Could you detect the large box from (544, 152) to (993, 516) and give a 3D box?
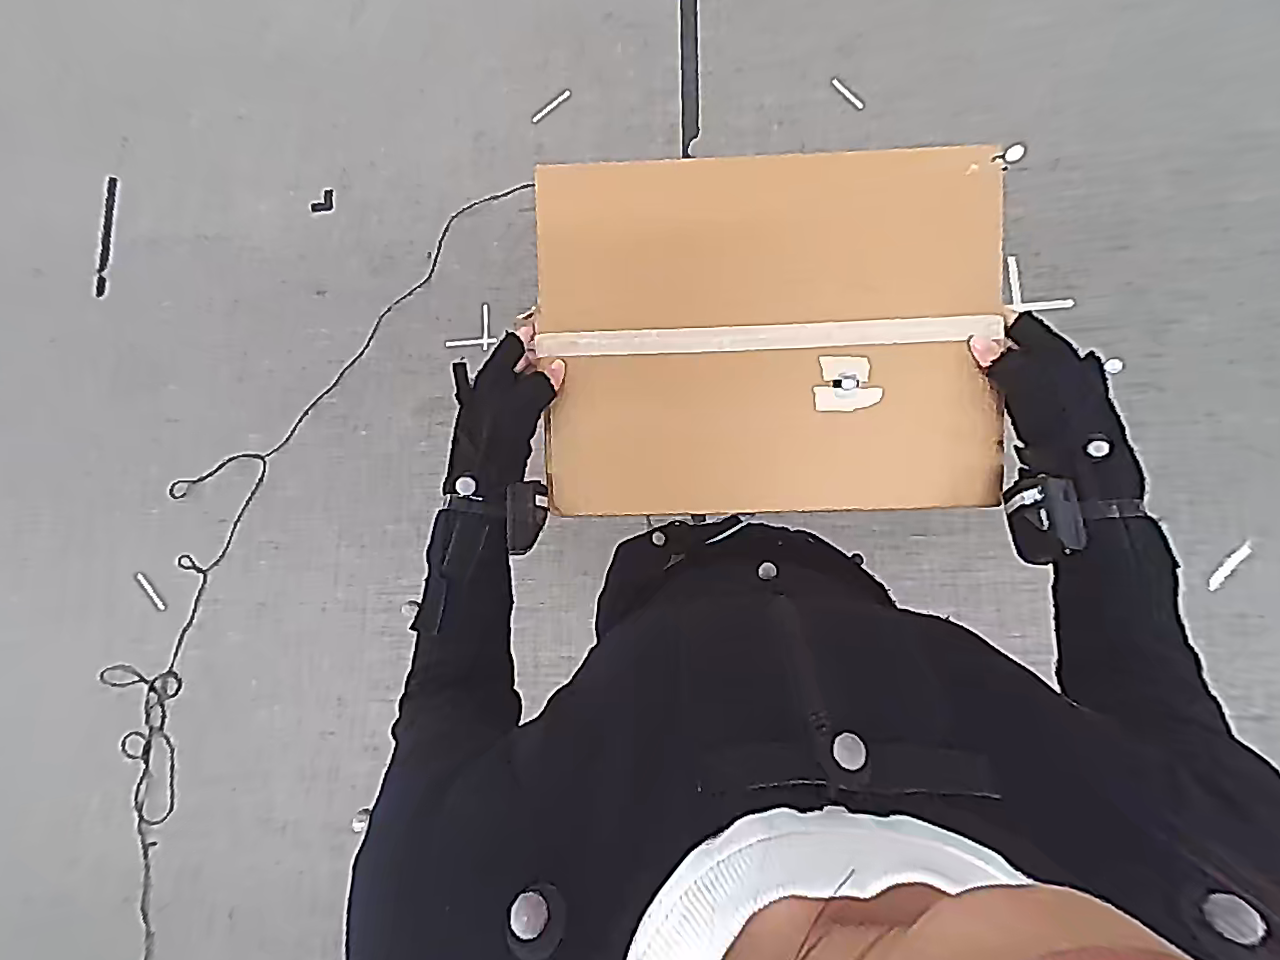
[{"bbox_3d":[0.120,-0.136,0.640,0.408,0.320,0.320,-2,94,2],"label":"large box"}]
